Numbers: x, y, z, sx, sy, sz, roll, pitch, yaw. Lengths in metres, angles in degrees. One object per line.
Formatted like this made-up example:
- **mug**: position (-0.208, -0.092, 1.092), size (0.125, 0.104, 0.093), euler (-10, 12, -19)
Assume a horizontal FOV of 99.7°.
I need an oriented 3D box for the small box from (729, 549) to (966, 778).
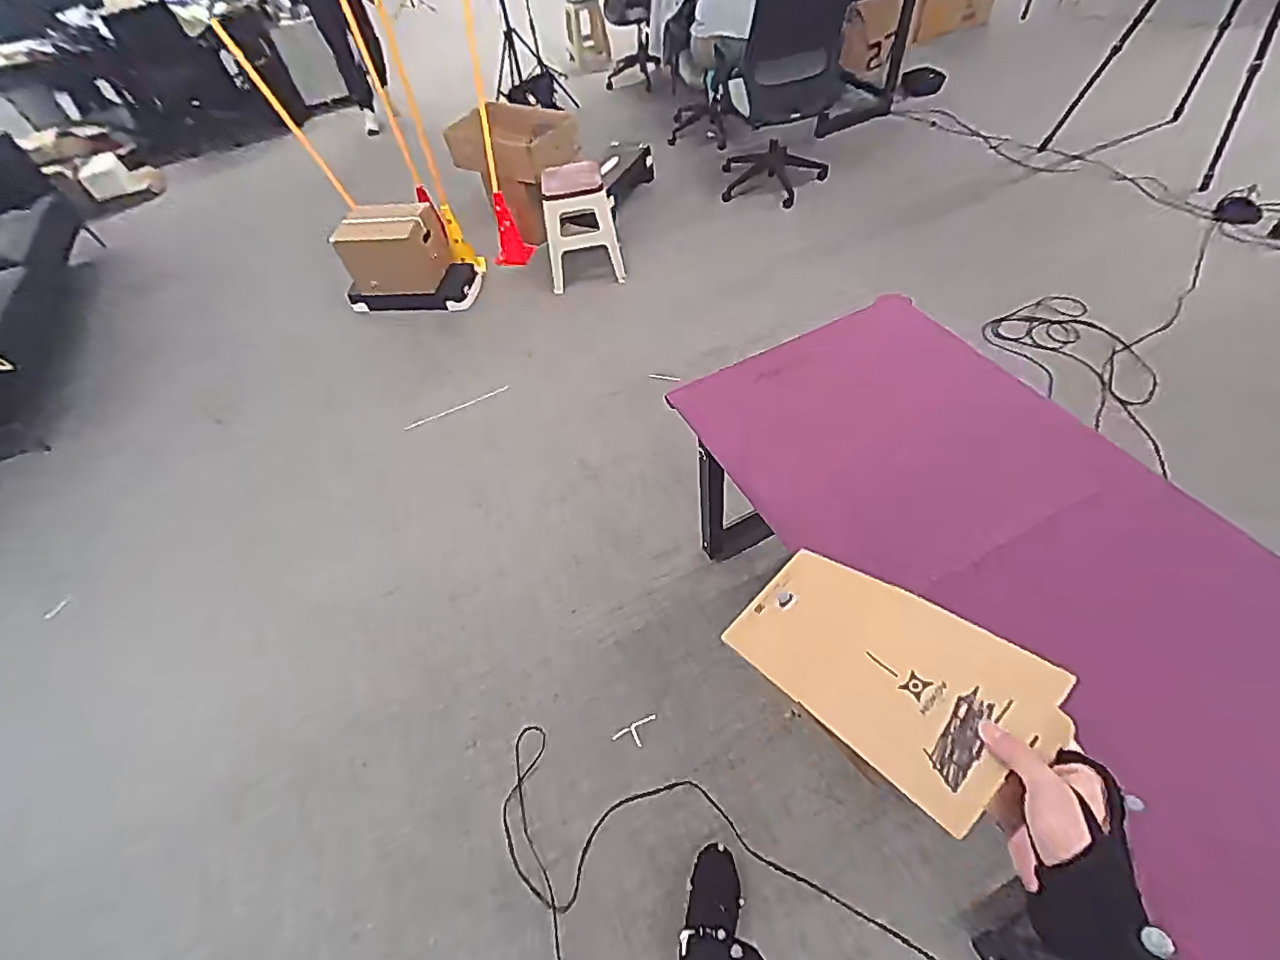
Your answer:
- **small box**: position (0.246, 0.210, 0.667), size (0.168, 0.179, 0.176), euler (-44, 19, -9)
